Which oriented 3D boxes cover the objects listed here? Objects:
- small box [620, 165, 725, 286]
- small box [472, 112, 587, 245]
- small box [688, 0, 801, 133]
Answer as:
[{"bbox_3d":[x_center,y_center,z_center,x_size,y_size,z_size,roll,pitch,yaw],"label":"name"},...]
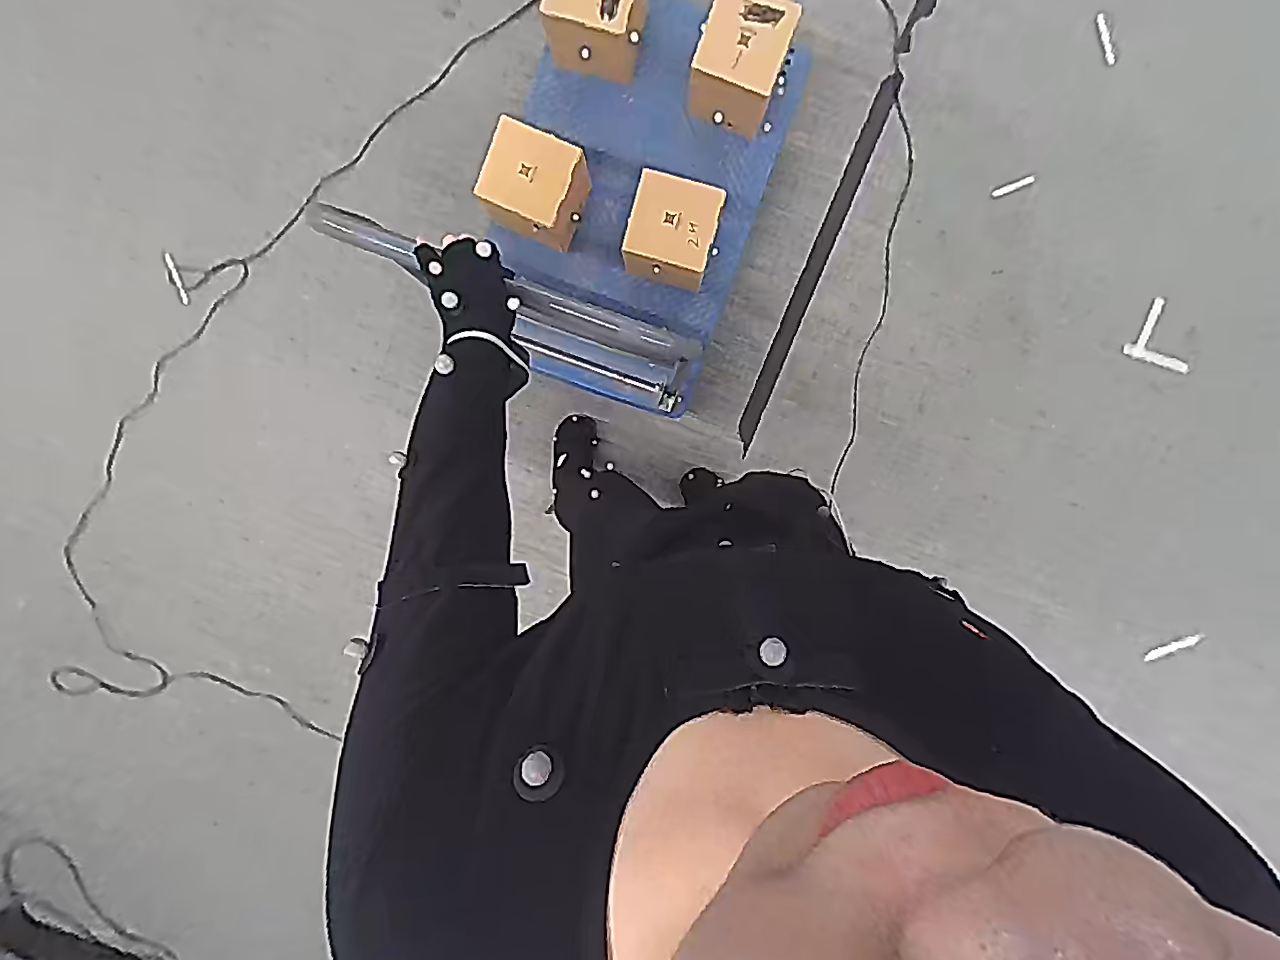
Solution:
[{"bbox_3d":[0.067,-0.534,1.159,0.179,0.176,0.168,16,96,0],"label":"small box"},{"bbox_3d":[-0.227,-0.632,1.158,0.179,0.176,0.168,22,96,-2],"label":"small box"},{"bbox_3d":[0.205,-0.870,1.118,0.168,0.176,0.179,21,98,-1],"label":"small box"}]
